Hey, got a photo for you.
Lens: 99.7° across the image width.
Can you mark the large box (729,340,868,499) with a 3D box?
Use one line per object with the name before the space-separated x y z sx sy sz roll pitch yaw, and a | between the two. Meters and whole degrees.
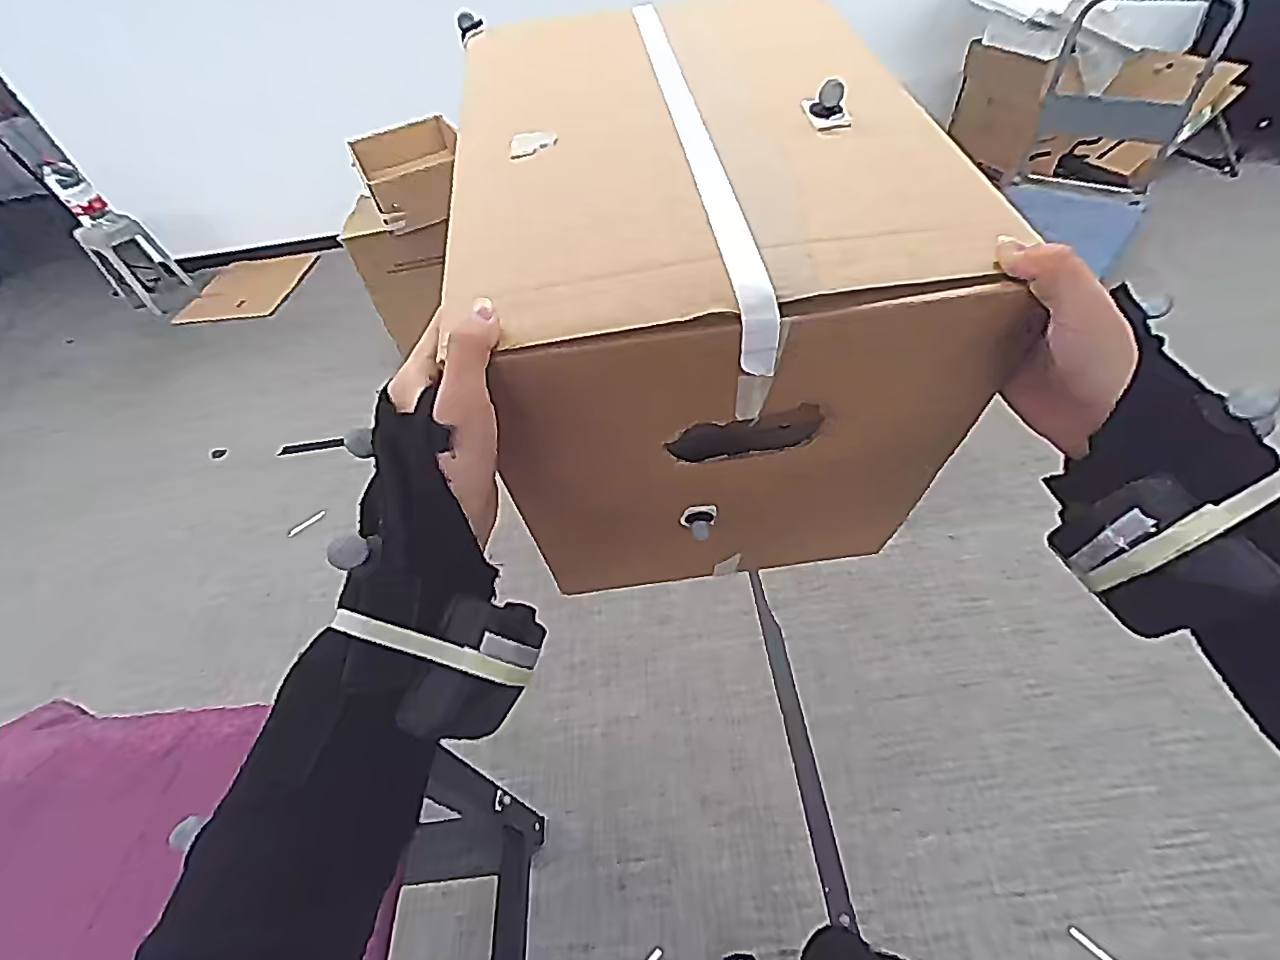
large box | 0.486 -0.201 1.770 0.320 0.320 0.408 -9 49 1
